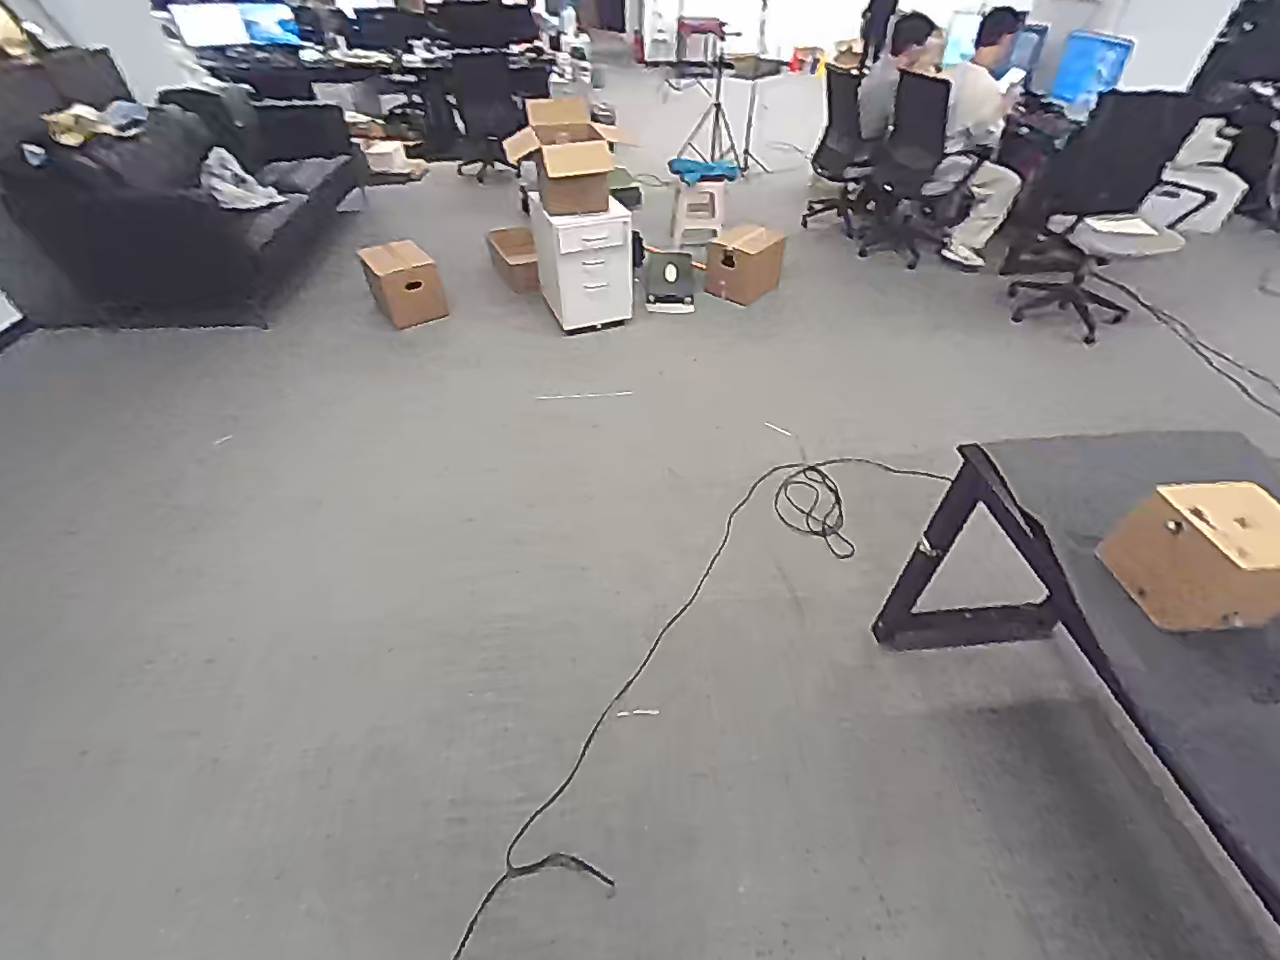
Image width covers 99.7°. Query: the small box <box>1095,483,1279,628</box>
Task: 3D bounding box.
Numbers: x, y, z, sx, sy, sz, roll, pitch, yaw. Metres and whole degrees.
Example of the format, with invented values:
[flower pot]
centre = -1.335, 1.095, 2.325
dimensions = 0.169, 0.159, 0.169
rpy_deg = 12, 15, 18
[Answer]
[small box]
centre = 0.902, 0.122, 0.866
dimensions = 0.179, 0.176, 0.168
rpy_deg = -2, 43, -4
